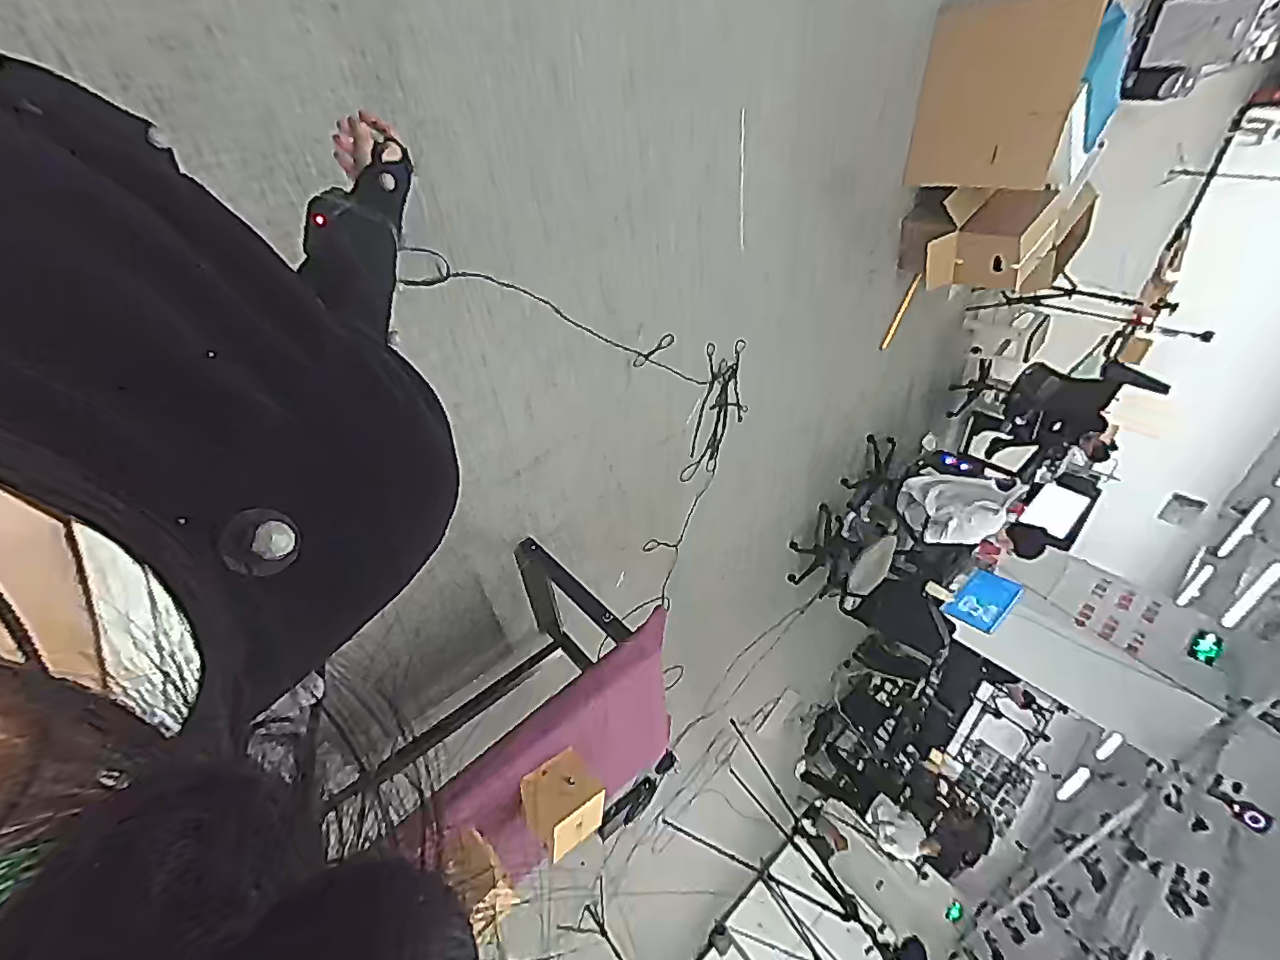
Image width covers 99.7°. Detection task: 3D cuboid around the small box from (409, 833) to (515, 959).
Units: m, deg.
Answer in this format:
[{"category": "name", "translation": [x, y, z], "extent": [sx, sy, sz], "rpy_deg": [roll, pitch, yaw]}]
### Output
[{"category": "small box", "translation": [-0.443, 1.031, 1.350], "extent": [0.168, 0.176, 0.179], "rpy_deg": [-35, 136, -27]}]

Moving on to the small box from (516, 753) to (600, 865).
[{"category": "small box", "translation": [-0.229, 0.892, 1.489], "extent": [0.168, 0.176, 0.179], "rpy_deg": [-20, 129, -38]}]
